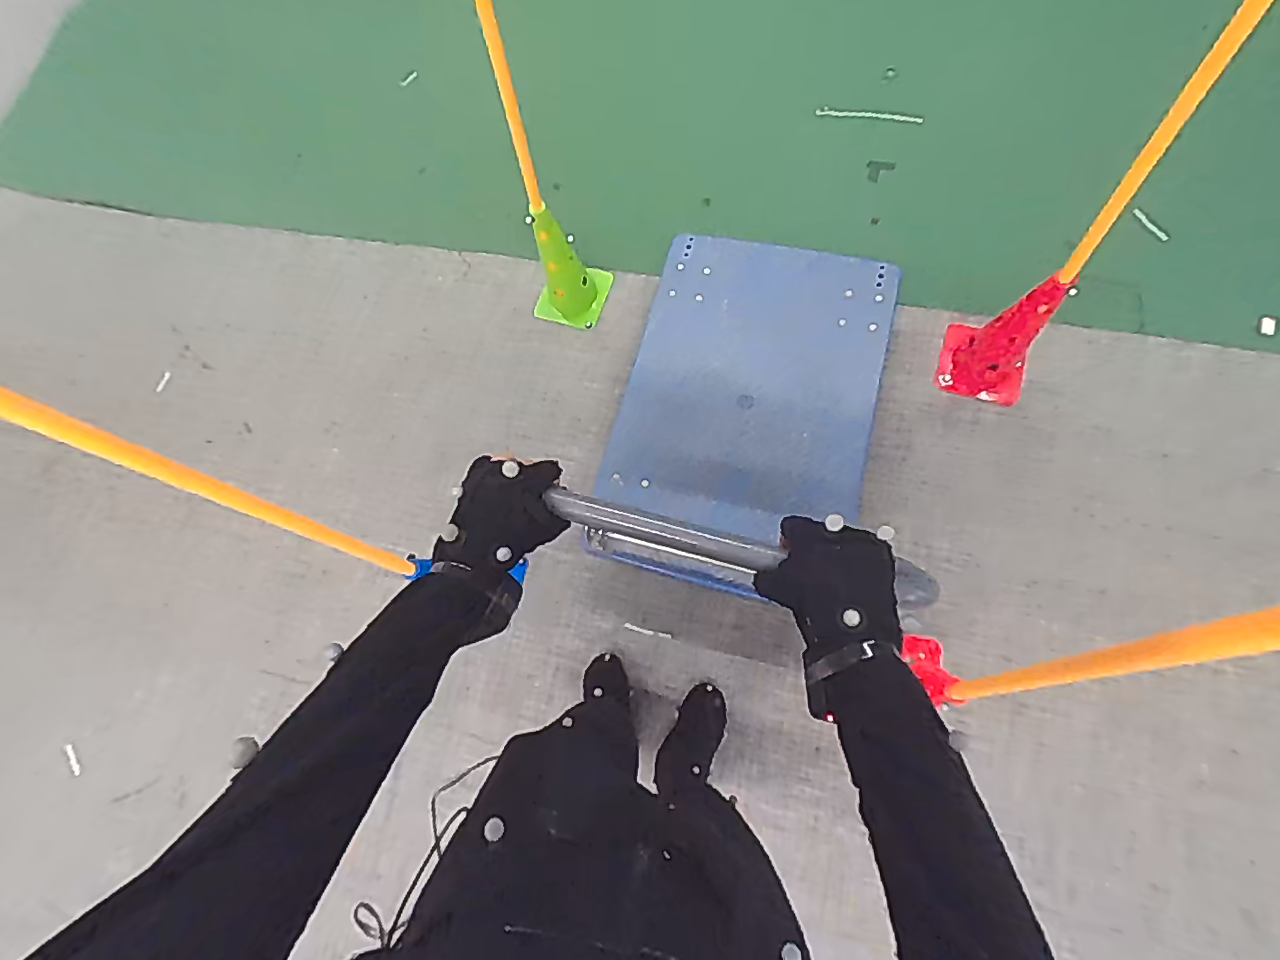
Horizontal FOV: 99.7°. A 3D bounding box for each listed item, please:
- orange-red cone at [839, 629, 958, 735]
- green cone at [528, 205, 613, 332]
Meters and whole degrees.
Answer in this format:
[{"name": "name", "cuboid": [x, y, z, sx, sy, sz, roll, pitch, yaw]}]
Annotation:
[{"name": "orange-red cone", "cuboid": [0.540, 0.407, 1.072, 0.199, 0.360, 0.198, 11, 75, 13]}, {"name": "green cone", "cuboid": [-0.221, -0.596, 1.468, 0.202, 0.368, 0.200, 16, 76, 13]}]
